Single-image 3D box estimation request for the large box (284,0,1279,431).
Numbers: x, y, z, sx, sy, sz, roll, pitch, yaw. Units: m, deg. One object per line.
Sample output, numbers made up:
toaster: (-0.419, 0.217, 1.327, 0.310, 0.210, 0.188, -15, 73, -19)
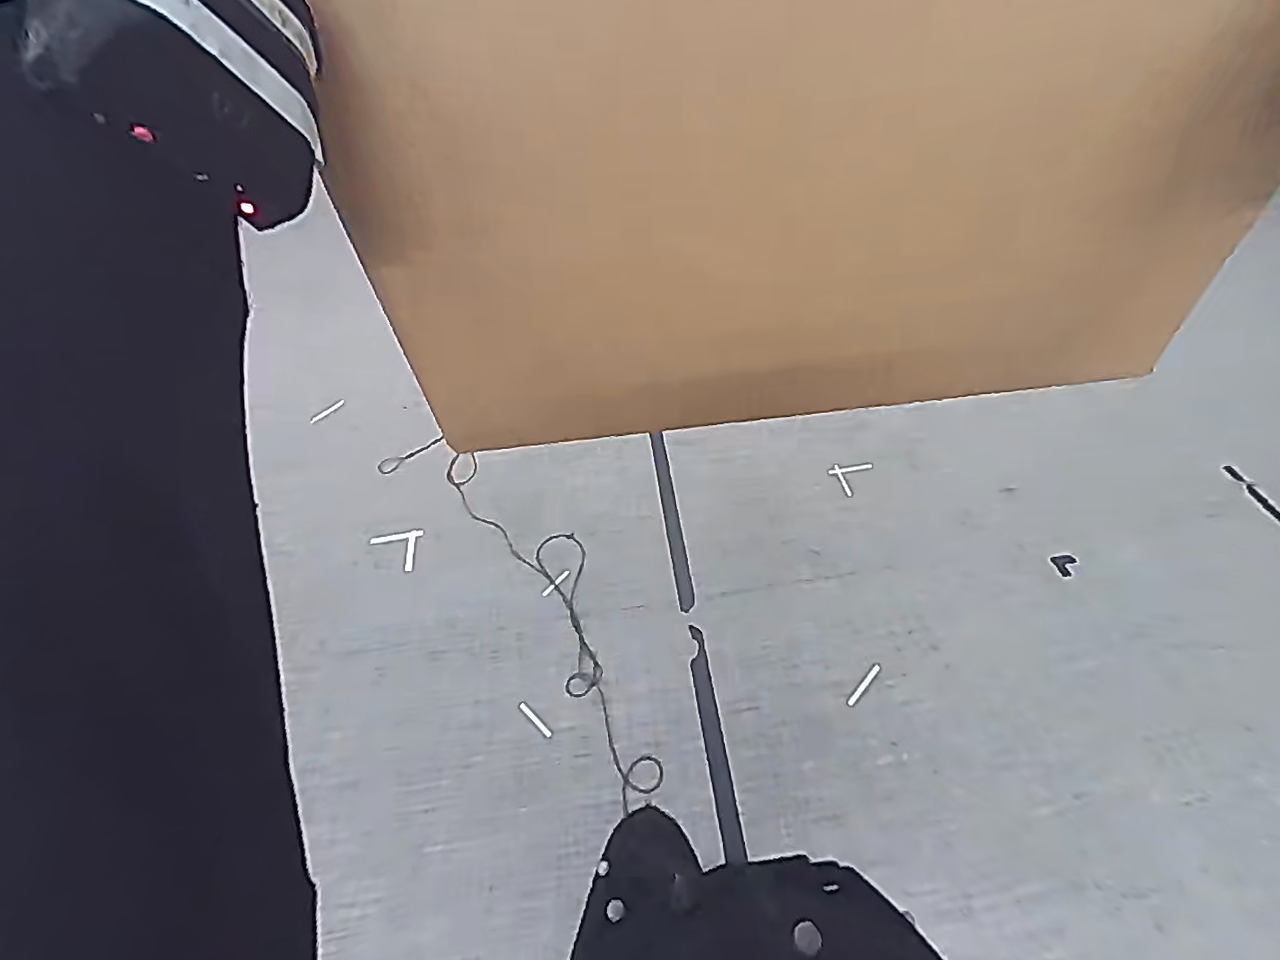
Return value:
large box: (0.063, -0.257, 0.318, 0.408, 0.320, 0.320, -6, 46, 0)
